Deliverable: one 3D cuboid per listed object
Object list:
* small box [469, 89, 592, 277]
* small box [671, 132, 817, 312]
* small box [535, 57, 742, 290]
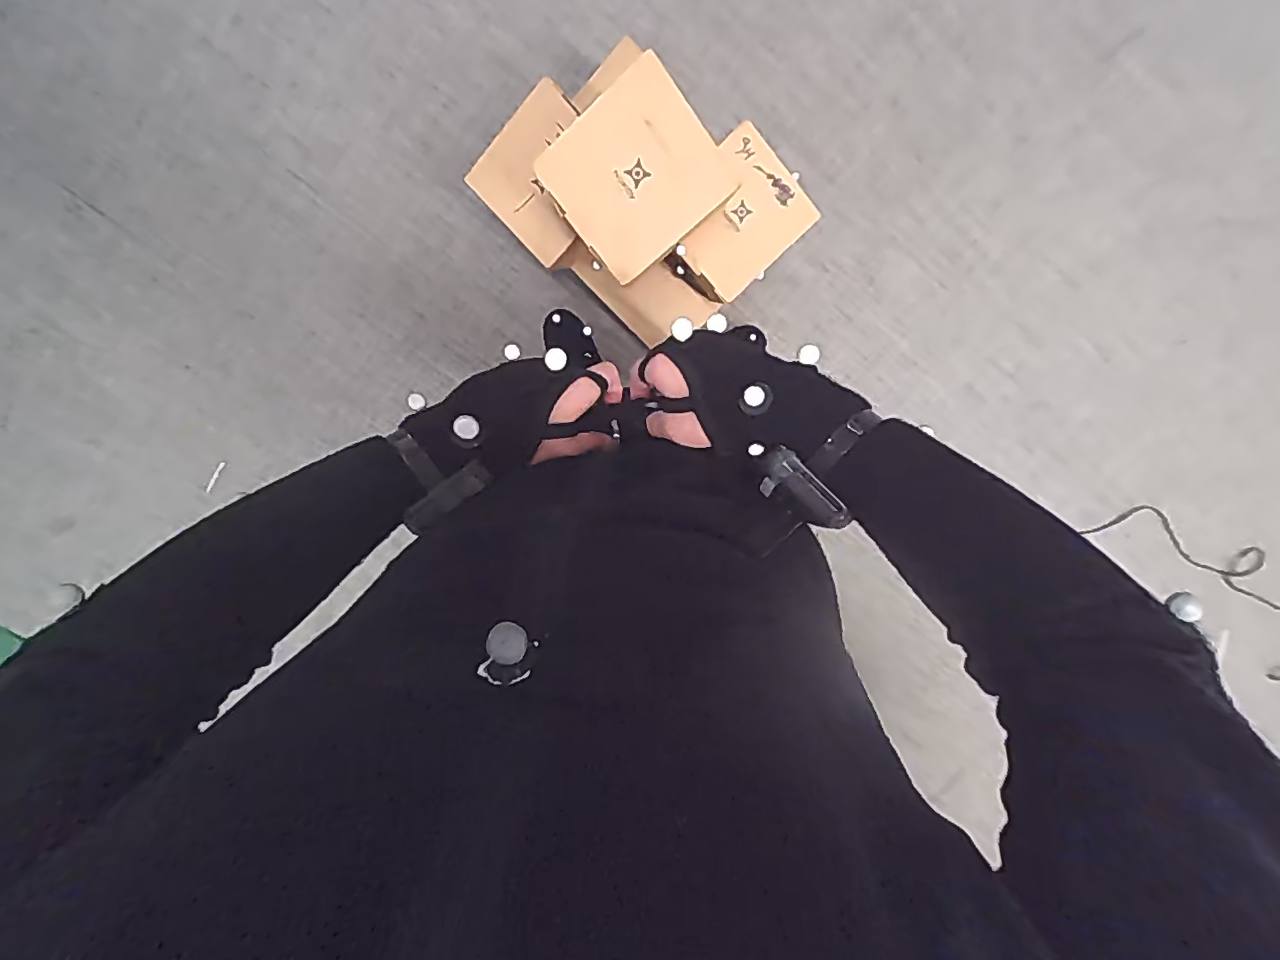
[{"bbox_3d":[-0.121,-0.435,0.824,0.179,0.176,0.168,-40,103,16],"label":"small box"},{"bbox_3d":[0.137,-0.380,0.836,0.179,0.176,0.168,-42,102,13],"label":"small box"},{"bbox_3d":[0.000,-0.356,0.674,0.179,0.176,0.168,-38,105,12],"label":"small box"}]
